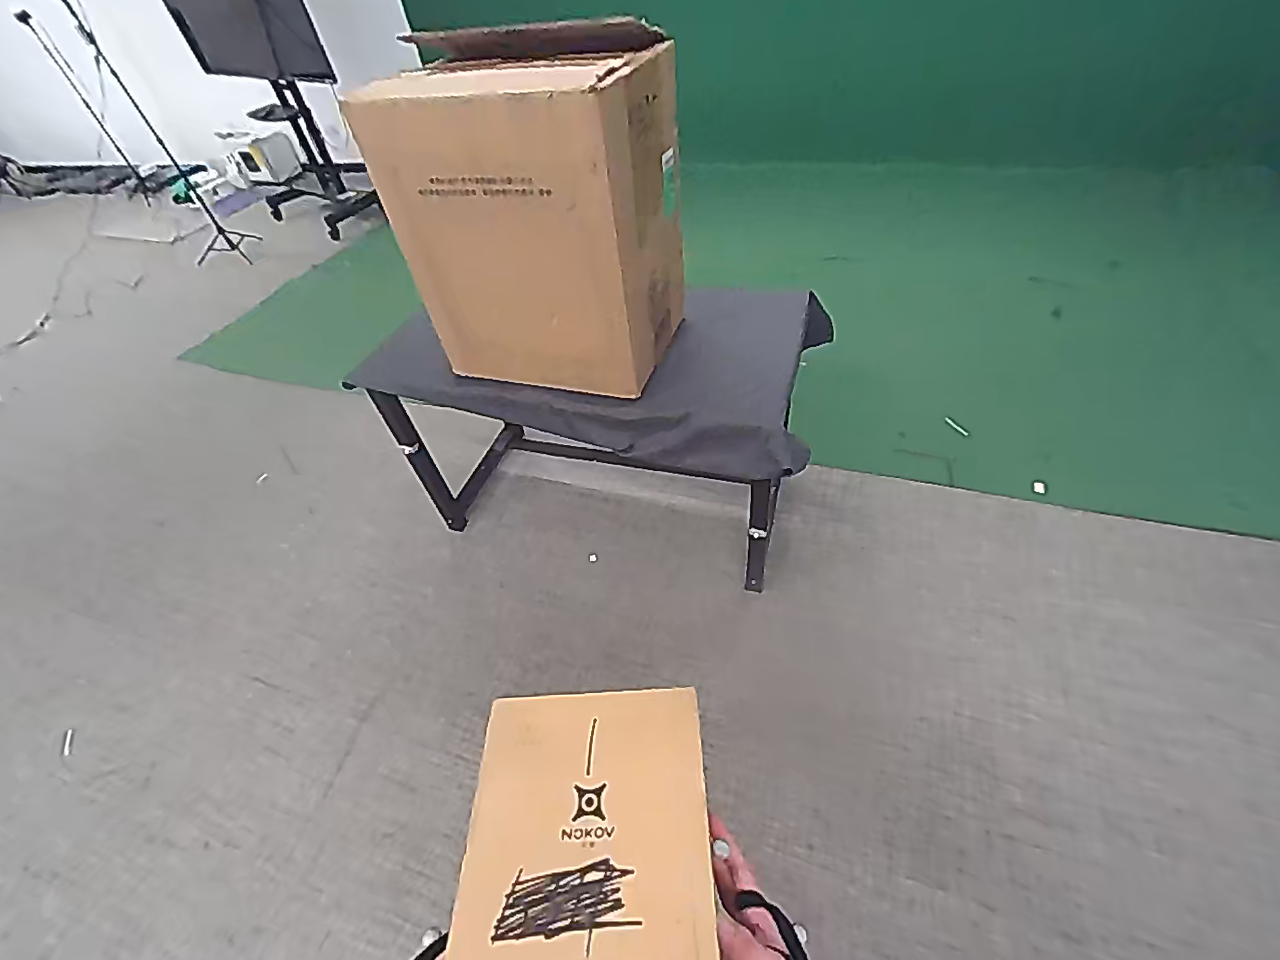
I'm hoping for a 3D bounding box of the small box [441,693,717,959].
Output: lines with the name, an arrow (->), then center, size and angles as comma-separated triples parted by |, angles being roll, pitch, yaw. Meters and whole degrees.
small box -> -0.029, 0.290, 0.424 | 0.168, 0.176, 0.179 | -4, 43, 4
